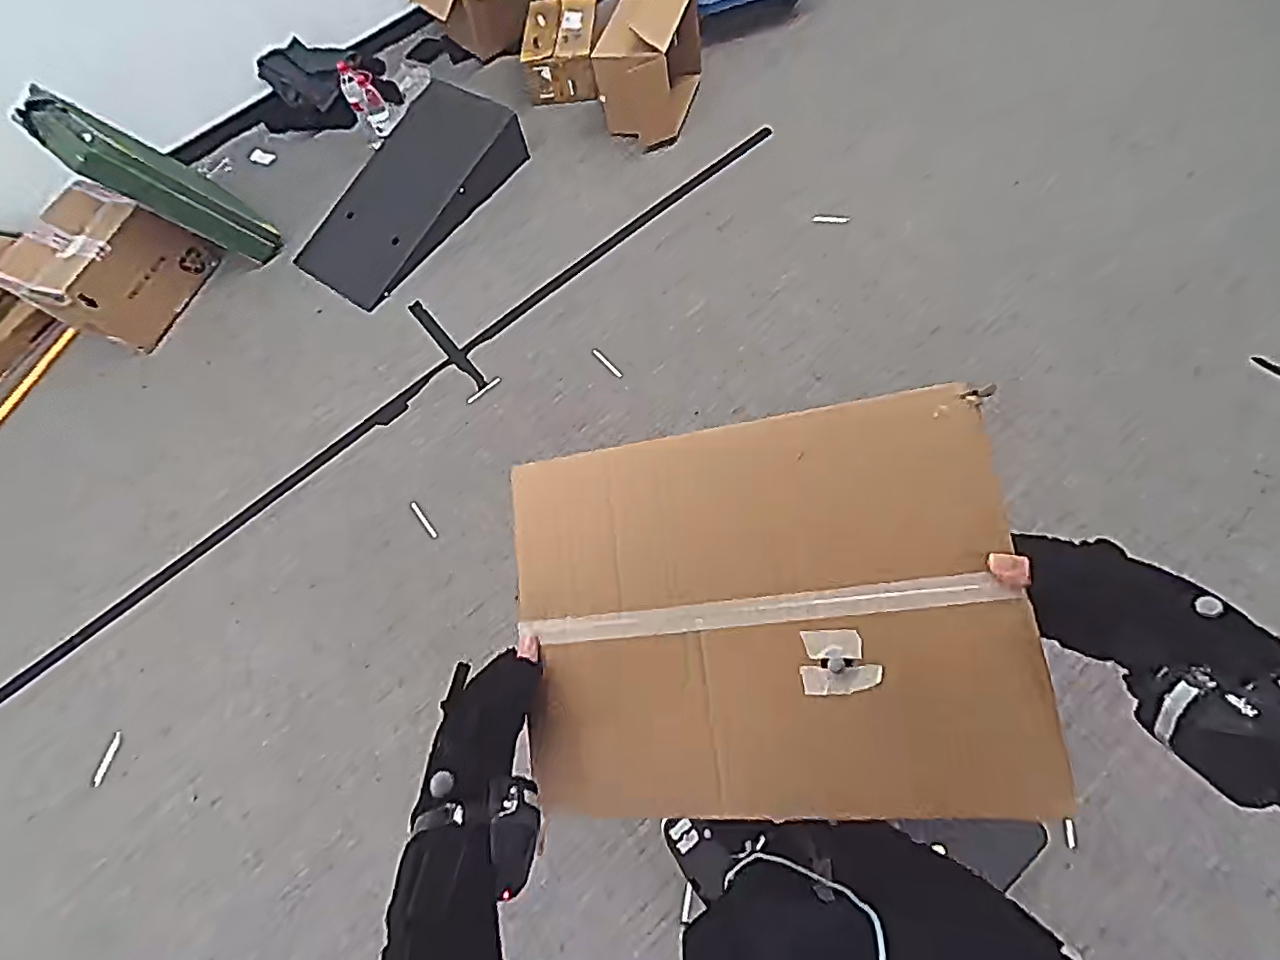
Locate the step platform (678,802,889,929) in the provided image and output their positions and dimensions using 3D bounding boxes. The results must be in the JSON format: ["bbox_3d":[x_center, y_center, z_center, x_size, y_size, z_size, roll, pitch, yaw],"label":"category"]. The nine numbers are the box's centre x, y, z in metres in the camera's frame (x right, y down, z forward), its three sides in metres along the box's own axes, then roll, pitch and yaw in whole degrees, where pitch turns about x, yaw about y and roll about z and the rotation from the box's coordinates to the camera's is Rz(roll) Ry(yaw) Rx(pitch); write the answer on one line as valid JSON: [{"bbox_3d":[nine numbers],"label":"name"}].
[{"bbox_3d":[0.415,0.664,1.274,0.684,0.204,0.286,-41,68,-11],"label":"step platform"}]

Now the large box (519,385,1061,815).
[{"bbox_3d":[0.128,0.132,0.596,0.408,0.320,0.320,-11,79,15],"label":"large box"}]
